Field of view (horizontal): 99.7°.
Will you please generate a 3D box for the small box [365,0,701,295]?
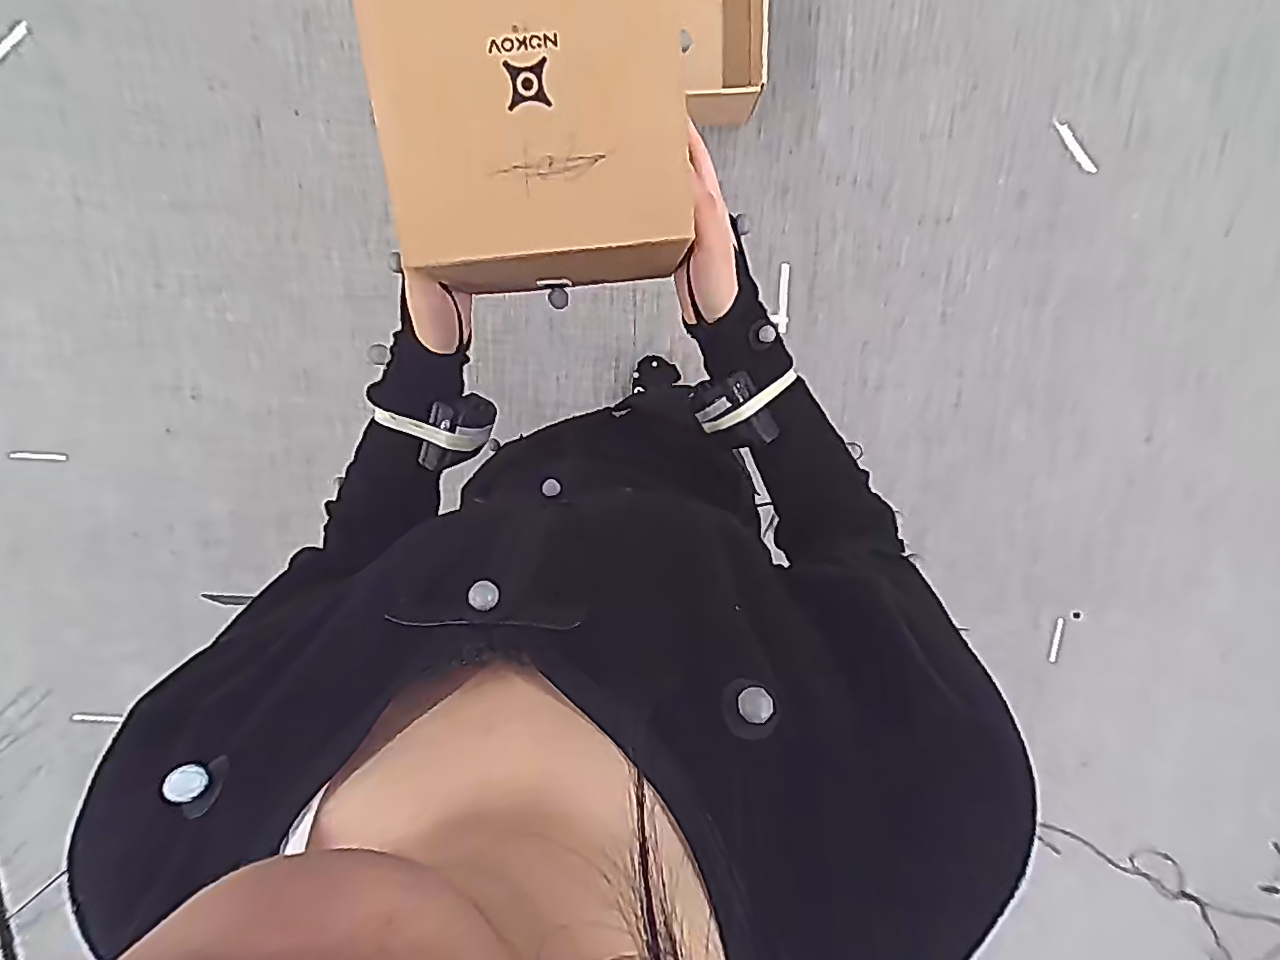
[{"bbox_3d":[-0.057,-0.230,0.362,0.168,0.176,0.179,-6,104,1],"label":"small box"}]
